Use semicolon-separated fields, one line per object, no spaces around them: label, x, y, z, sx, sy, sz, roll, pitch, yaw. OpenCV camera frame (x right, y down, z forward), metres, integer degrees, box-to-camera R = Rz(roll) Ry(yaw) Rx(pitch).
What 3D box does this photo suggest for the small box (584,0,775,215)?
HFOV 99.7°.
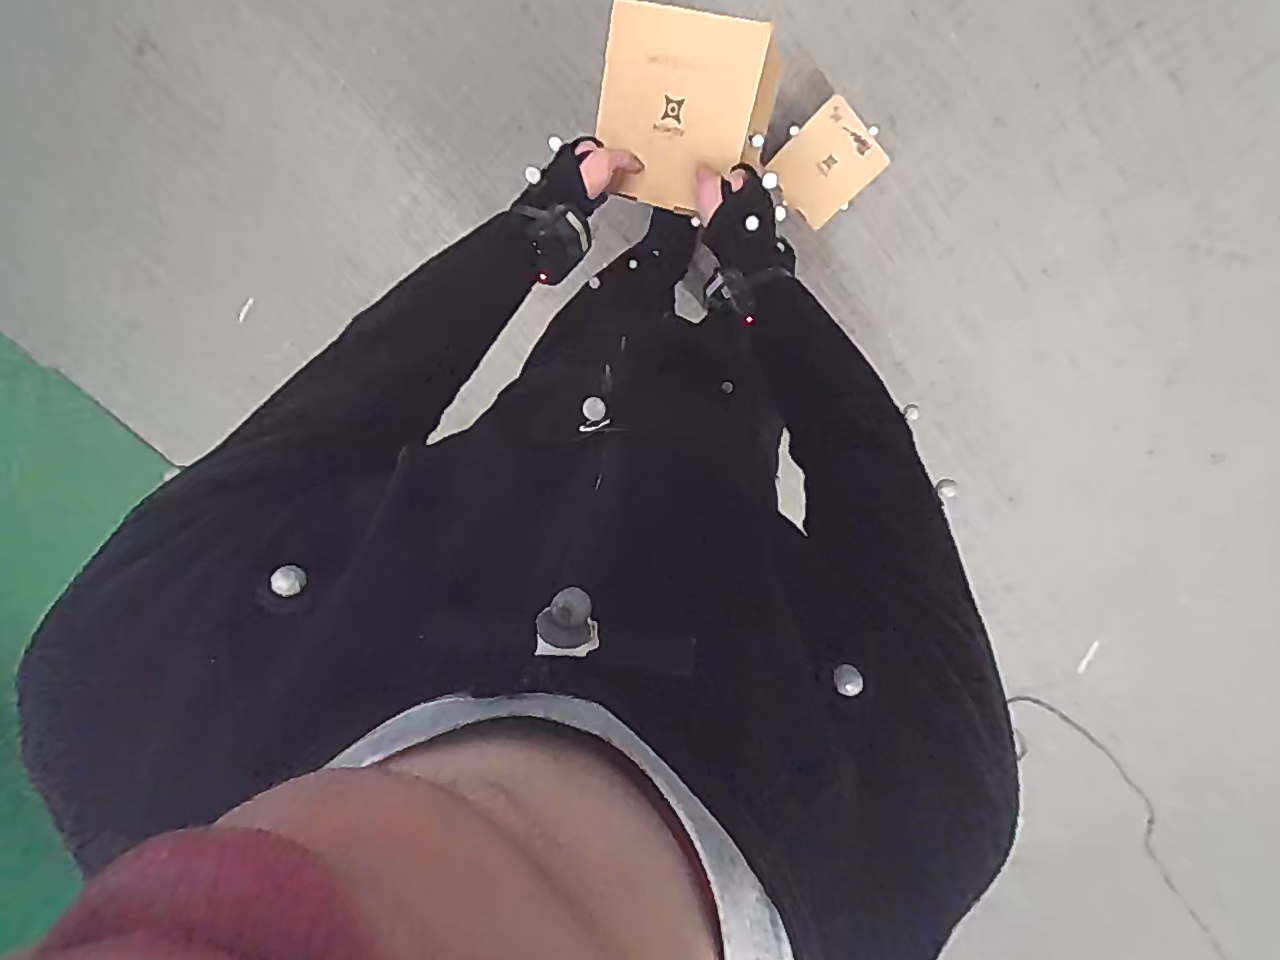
small box;0.051;-0.415;0.621;0.168;0.176;0.179;17;117;9
